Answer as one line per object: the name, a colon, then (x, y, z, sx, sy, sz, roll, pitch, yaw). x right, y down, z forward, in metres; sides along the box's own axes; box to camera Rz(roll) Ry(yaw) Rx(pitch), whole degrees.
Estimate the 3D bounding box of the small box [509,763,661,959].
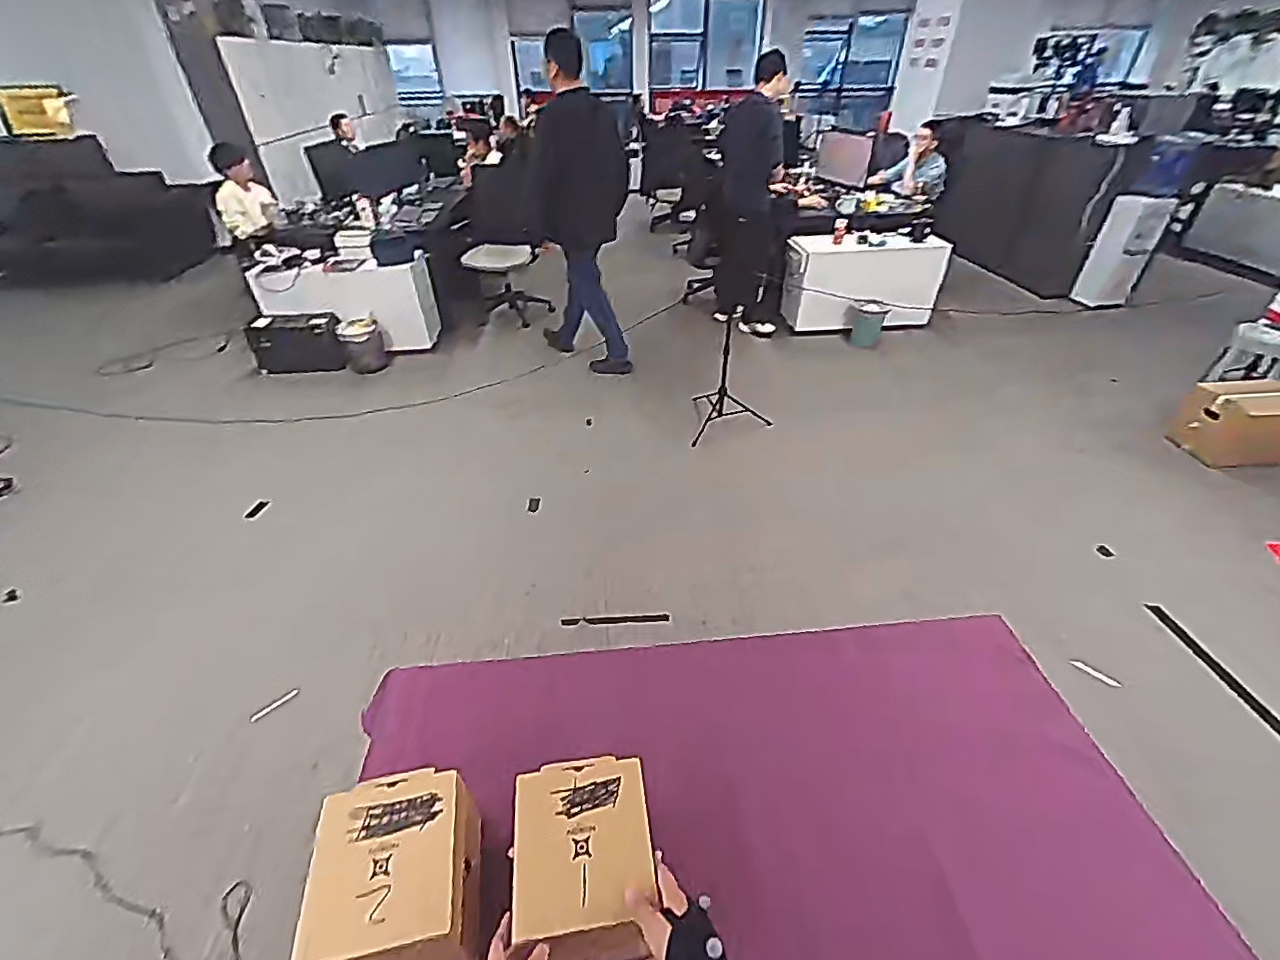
small box: (-0.068, 0.498, 0.694, 0.168, 0.176, 0.179, -6, 39, -6)
